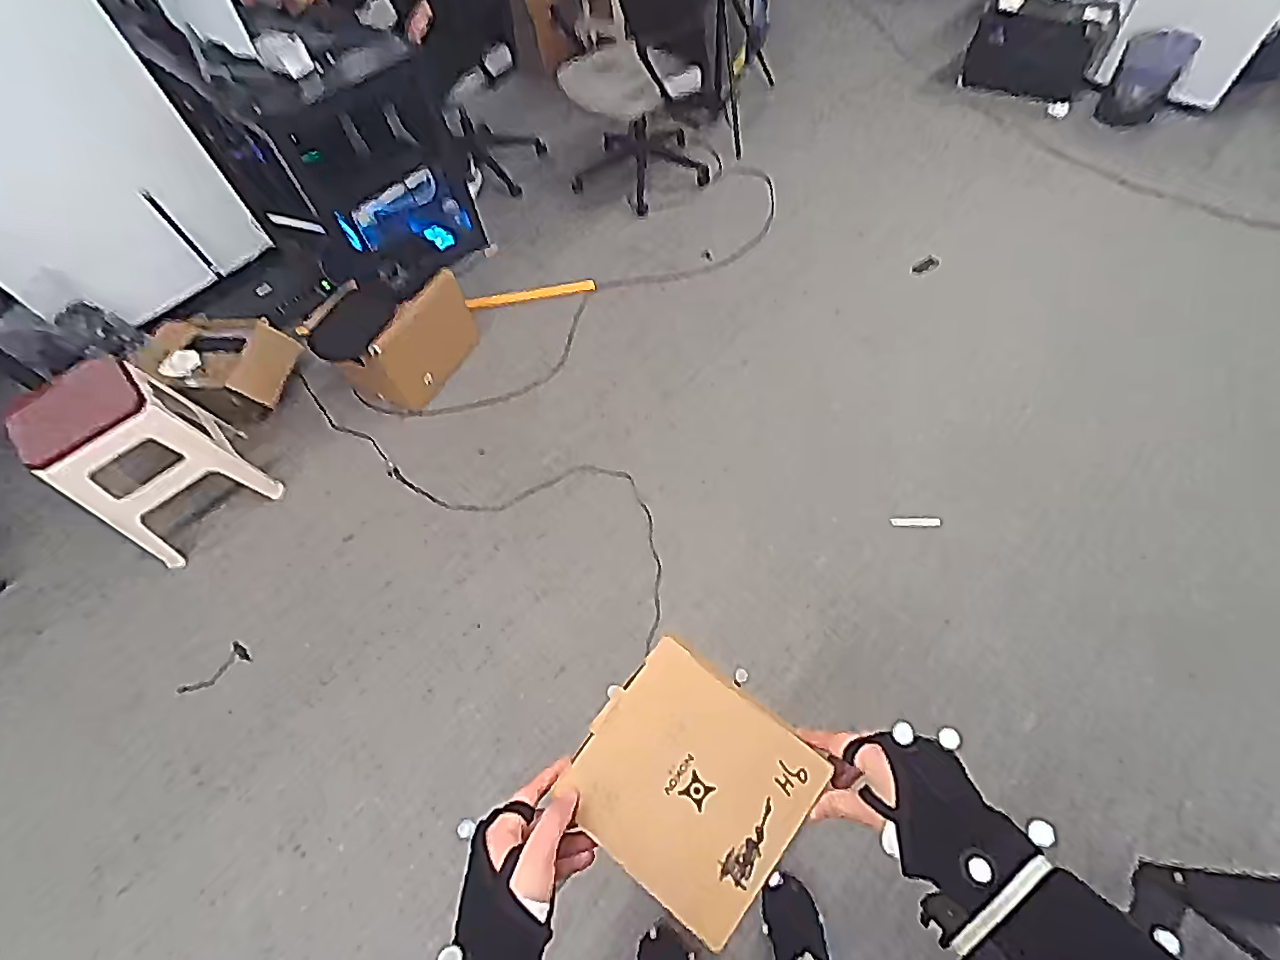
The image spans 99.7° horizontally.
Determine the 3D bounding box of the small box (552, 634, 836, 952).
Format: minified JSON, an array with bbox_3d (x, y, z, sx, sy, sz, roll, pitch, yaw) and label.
[{"bbox_3d":[0.049,0.269,0.515,0.179,0.176,0.168,35,80,14],"label":"small box"}]
